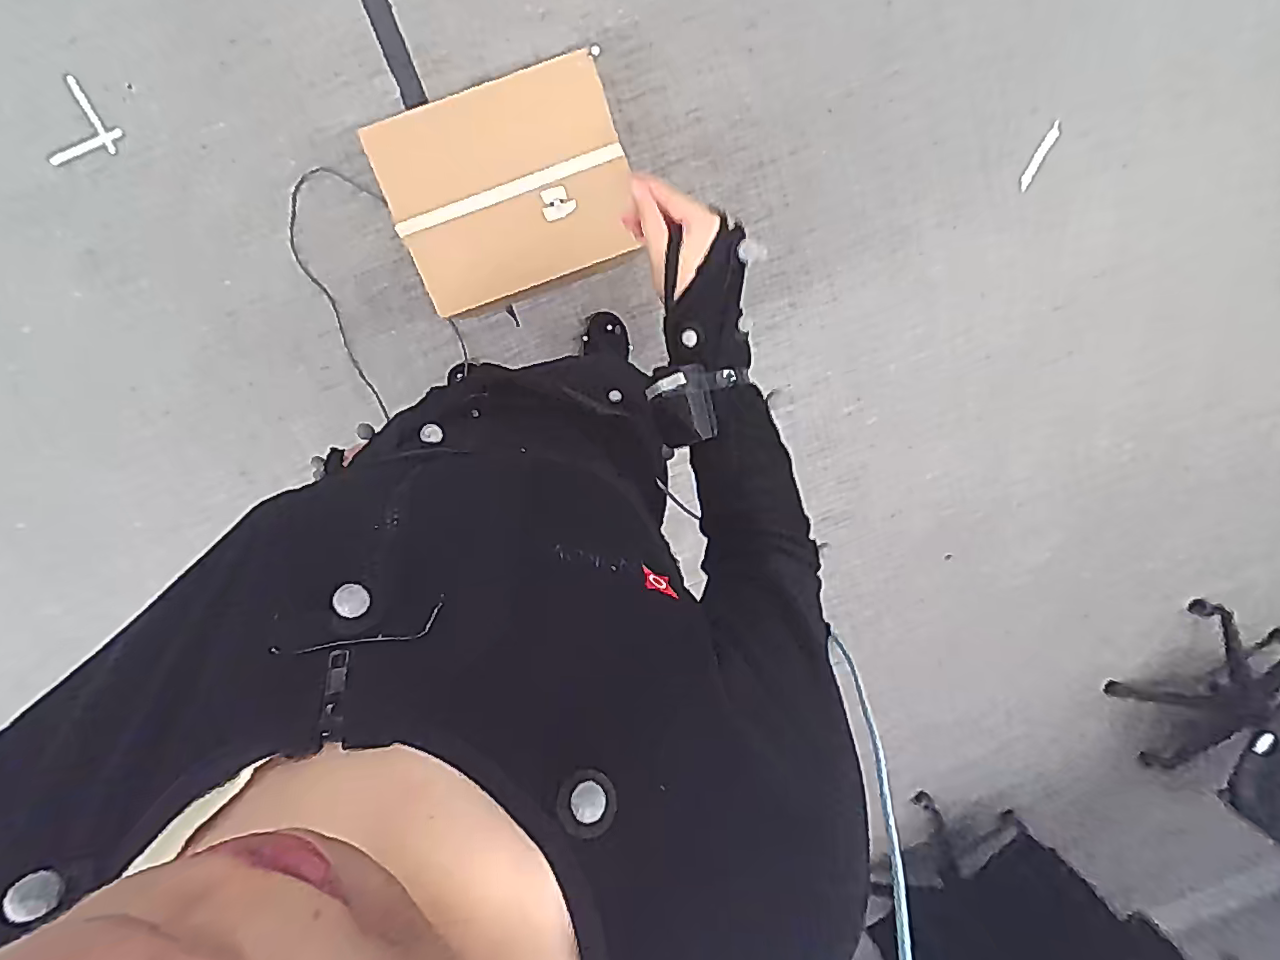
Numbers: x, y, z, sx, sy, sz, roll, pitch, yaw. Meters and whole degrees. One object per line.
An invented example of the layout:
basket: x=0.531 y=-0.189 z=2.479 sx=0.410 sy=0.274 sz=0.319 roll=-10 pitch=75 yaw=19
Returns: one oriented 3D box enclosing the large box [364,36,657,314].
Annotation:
large box: x=-0.221 y=-0.536 z=1.037 sx=0.408 sy=0.320 sz=0.320 roll=-20 pitch=109 yaw=-1
